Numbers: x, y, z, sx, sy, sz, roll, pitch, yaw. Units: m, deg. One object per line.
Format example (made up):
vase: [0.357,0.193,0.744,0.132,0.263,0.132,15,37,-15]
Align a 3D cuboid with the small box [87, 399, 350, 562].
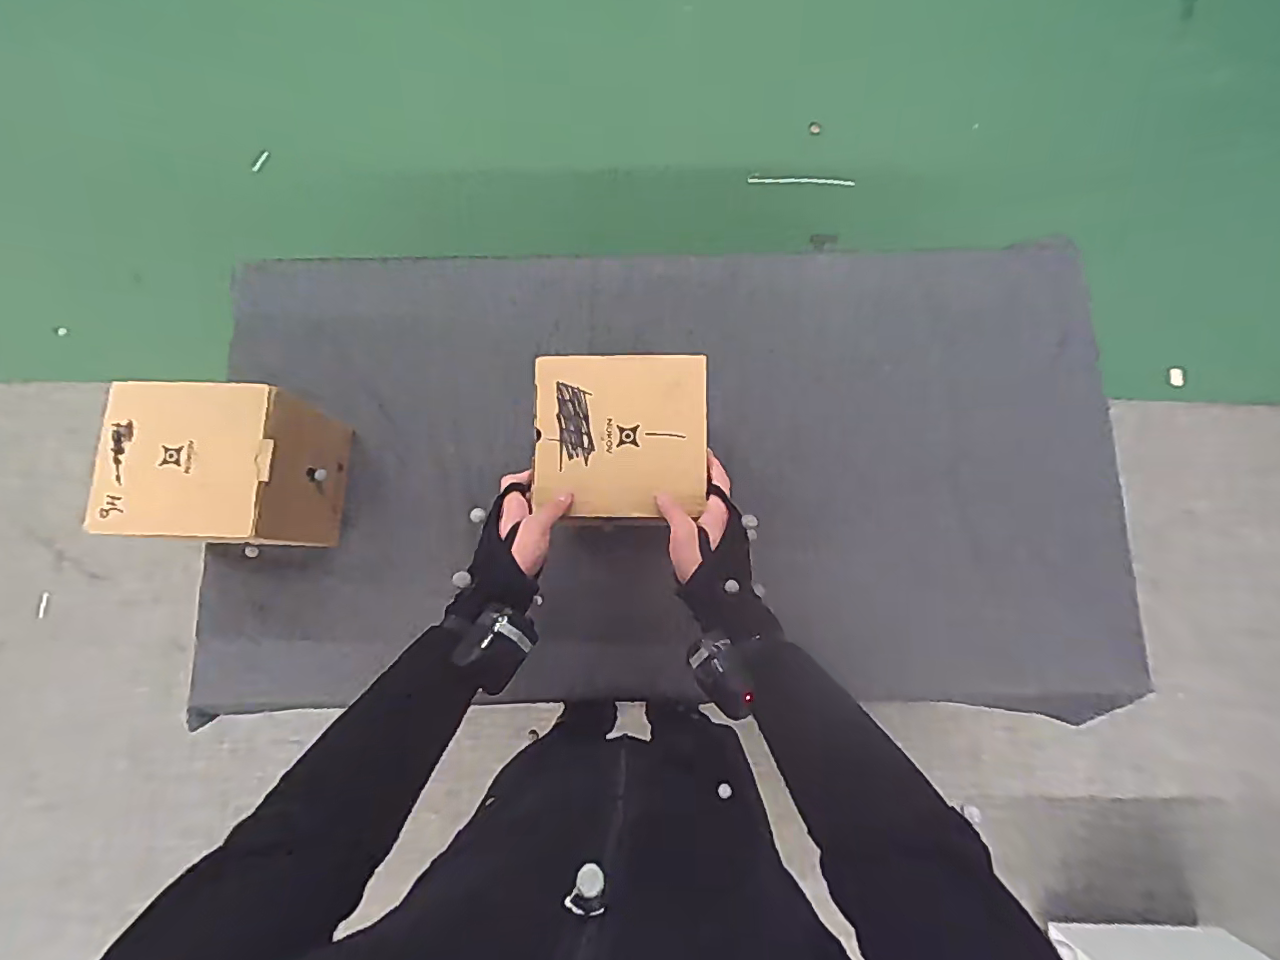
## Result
small box: [-0.476,0.010,0.644,0.179,0.176,0.168,1,79,0]

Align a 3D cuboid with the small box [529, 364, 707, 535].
small box: [-0.018,-0.023,0.612,0.179,0.176,0.168,0,82,2]
